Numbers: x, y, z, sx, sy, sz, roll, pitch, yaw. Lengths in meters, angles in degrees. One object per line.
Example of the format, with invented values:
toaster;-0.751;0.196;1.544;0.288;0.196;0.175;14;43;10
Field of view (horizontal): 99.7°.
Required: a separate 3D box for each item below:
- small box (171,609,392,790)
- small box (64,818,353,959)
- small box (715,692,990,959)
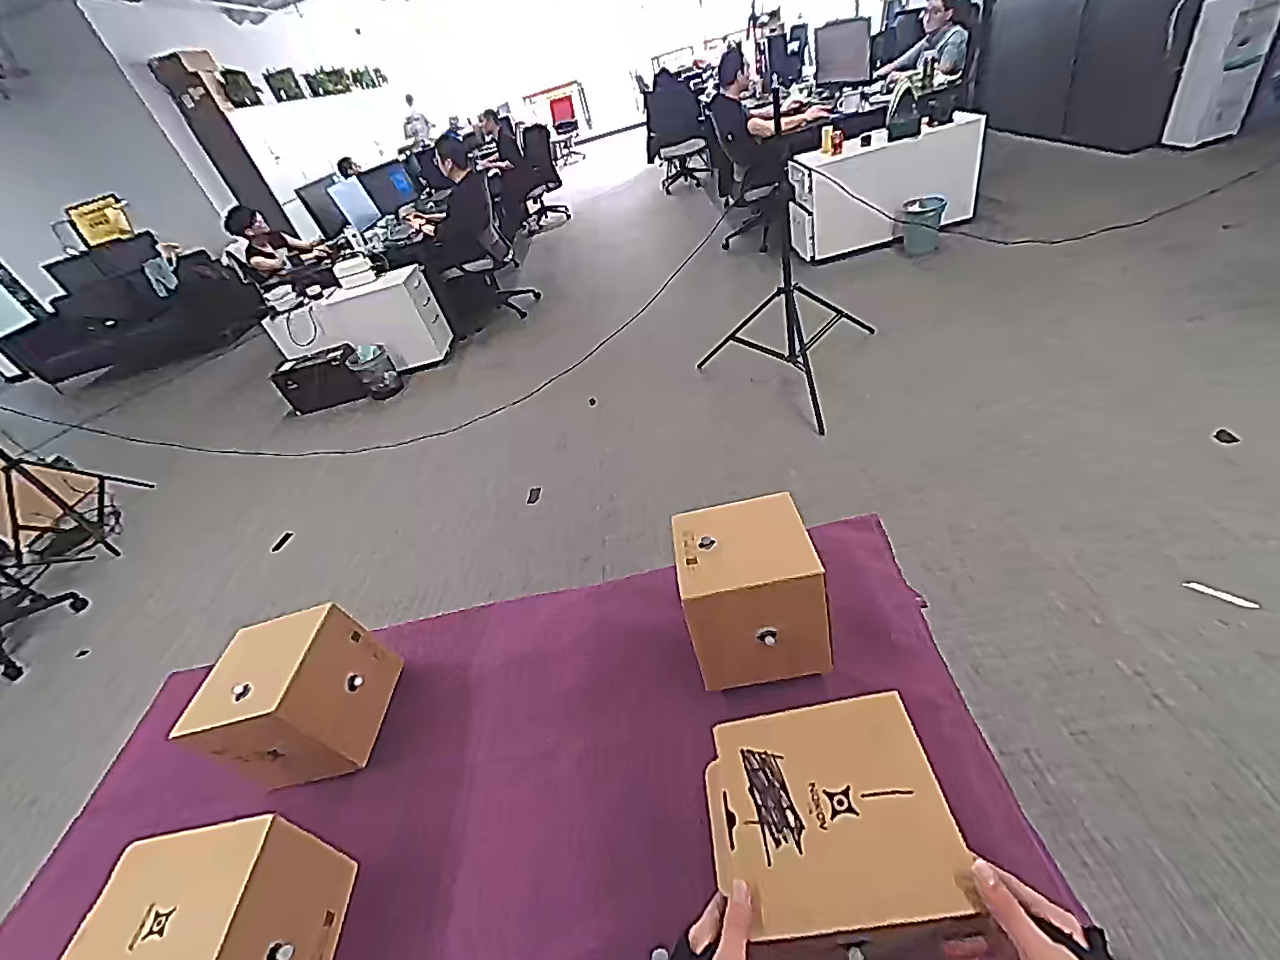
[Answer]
small box;-0.481;0.307;0.766;0.179;0.168;0.176;-17;36;13
small box;-0.437;0.480;0.557;0.179;0.176;0.168;-14;38;5
small box;0.179;0.323;0.488;0.179;0.176;0.168;-15;38;9
